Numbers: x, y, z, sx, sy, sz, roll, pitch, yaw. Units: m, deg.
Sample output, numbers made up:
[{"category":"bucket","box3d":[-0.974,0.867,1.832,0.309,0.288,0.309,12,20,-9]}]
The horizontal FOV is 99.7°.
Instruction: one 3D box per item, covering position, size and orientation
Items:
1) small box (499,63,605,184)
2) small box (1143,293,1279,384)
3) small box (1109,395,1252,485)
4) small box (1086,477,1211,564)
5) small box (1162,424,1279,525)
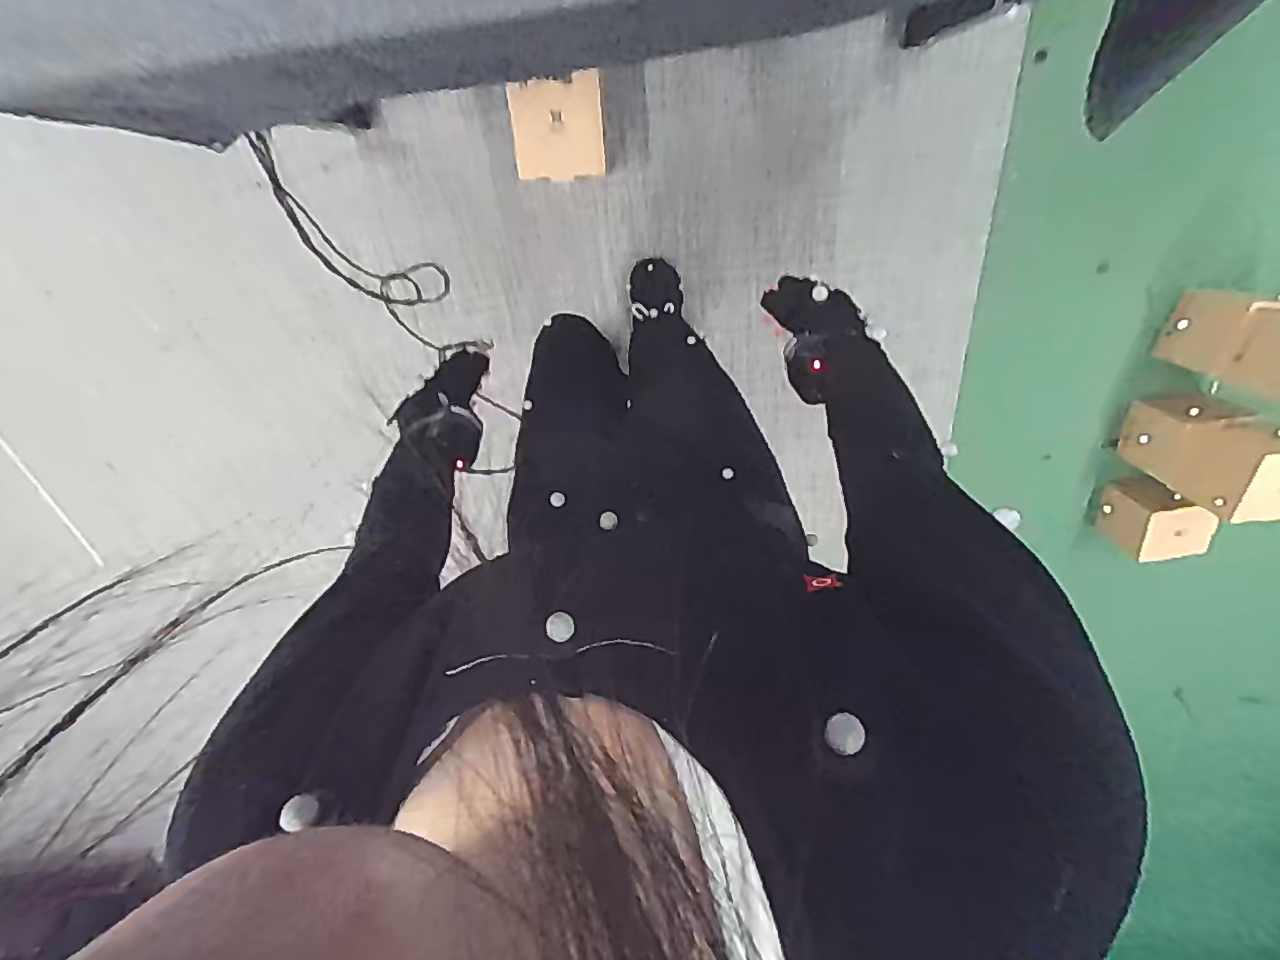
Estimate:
[{"category":"small box","box3d":[-0.156,-0.669,1.026,0.168,0.176,0.179,-2,120,1]},{"category":"small box","box3d":[1.352,-0.332,1.255,0.179,0.176,0.168,4,118,-2]},{"category":"small box","box3d":[1.364,-0.106,1.381,0.179,0.176,0.168,-8,119,3]},{"category":"small box","box3d":[1.405,0.106,1.501,0.179,0.176,0.168,-11,119,4]},{"category":"small box","box3d":[1.373,-0.021,1.242,0.168,0.176,0.179,-6,120,2]}]
